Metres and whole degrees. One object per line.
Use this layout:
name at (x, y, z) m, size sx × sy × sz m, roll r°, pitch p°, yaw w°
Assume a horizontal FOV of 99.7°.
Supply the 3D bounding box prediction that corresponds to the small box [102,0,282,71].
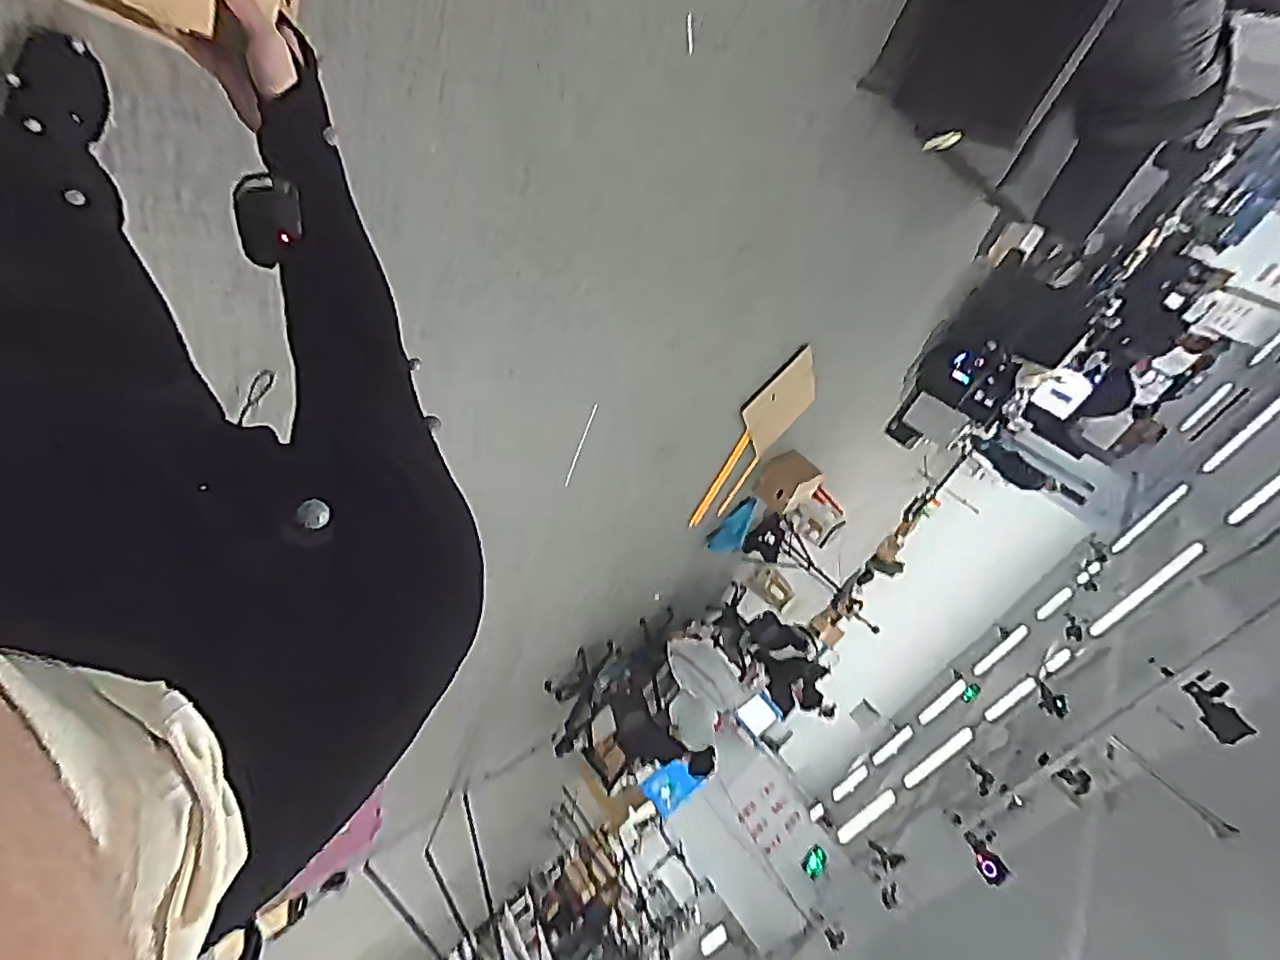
small box at (-0.393, -0.477, 0.412) m, size 0.179 × 0.176 × 0.168 m, roll -55°, pitch 163°, yaw 25°

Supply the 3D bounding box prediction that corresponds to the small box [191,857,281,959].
small box at (-1.100, 1.182, 1.474) m, size 0.168 × 0.176 × 0.179 m, roll -13°, pitch 137°, yaw -46°
